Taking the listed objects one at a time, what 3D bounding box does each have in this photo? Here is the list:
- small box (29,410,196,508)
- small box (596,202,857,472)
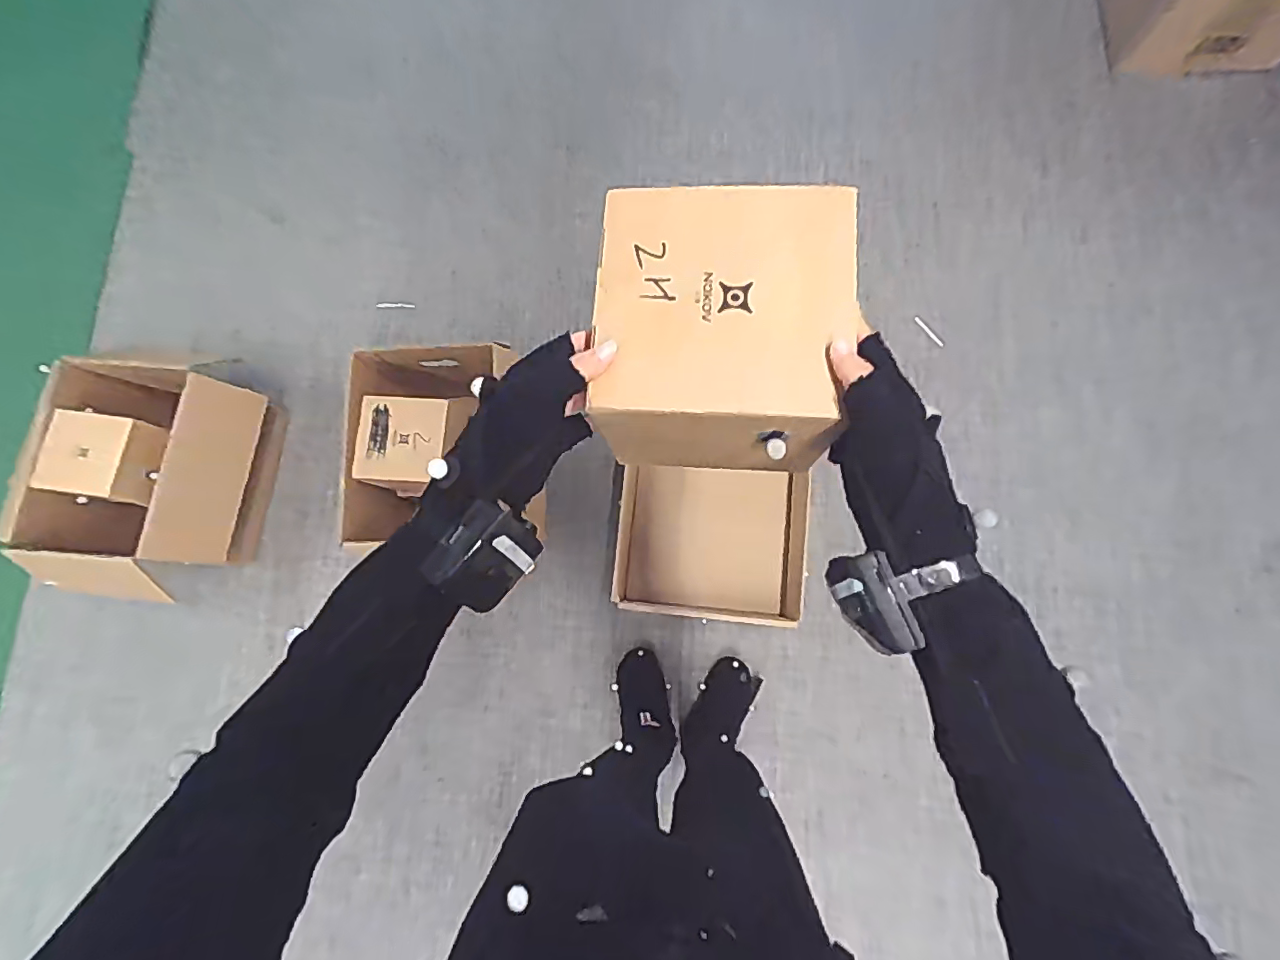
[{"bbox_3d":[-1.117,-0.038,1.163,0.179,0.176,0.168,7,79,4],"label":"small box"},{"bbox_3d":[0.068,-0.105,0.460,0.179,0.176,0.168,4,79,6],"label":"small box"}]
